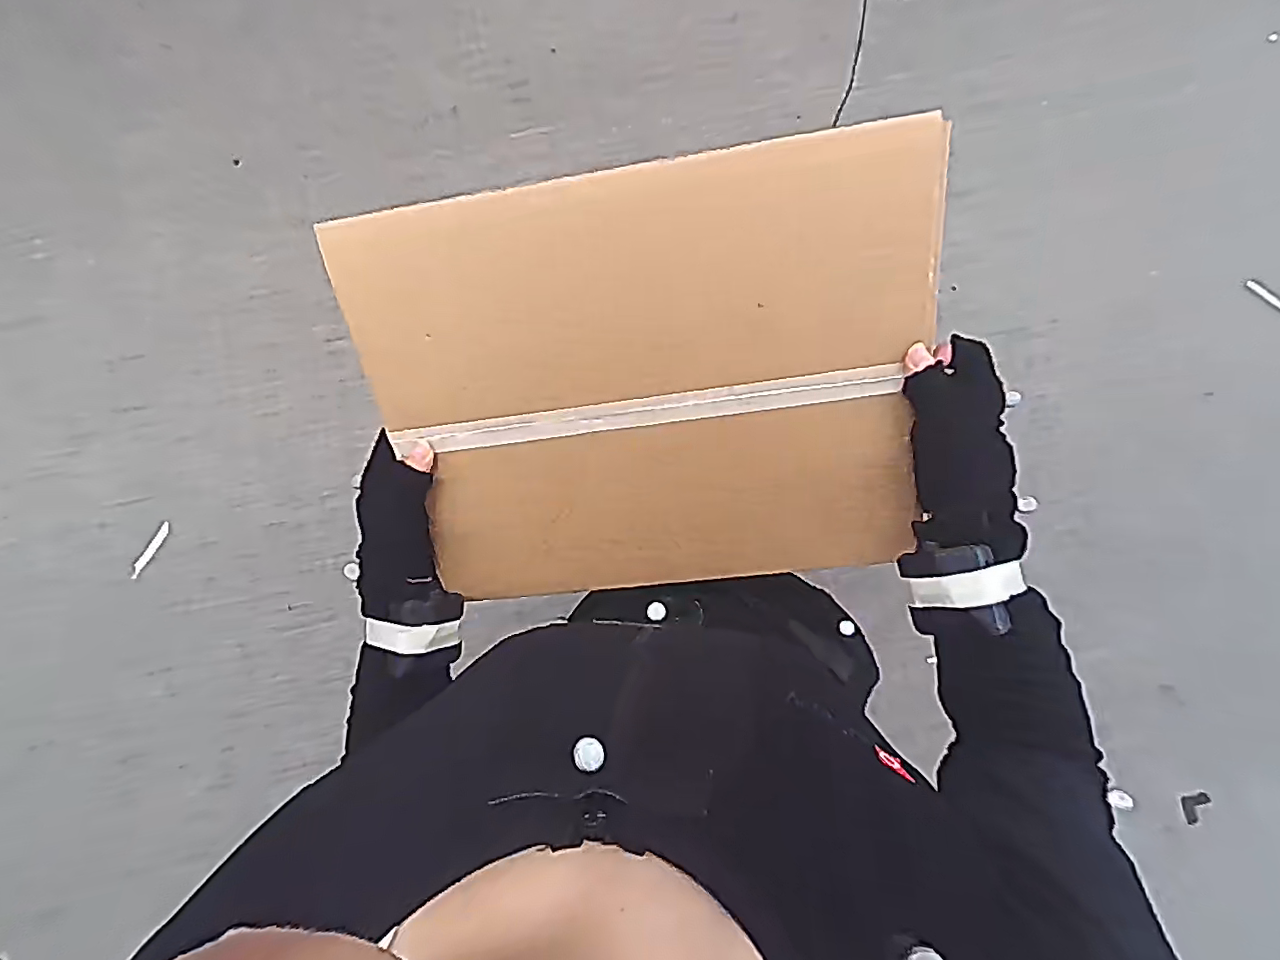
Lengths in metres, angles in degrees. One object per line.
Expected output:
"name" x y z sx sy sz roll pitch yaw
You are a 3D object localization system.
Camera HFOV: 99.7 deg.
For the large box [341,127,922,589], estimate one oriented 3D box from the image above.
"large box" 0.015 -0.123 0.553 0.408 0.320 0.320 -7 114 7
